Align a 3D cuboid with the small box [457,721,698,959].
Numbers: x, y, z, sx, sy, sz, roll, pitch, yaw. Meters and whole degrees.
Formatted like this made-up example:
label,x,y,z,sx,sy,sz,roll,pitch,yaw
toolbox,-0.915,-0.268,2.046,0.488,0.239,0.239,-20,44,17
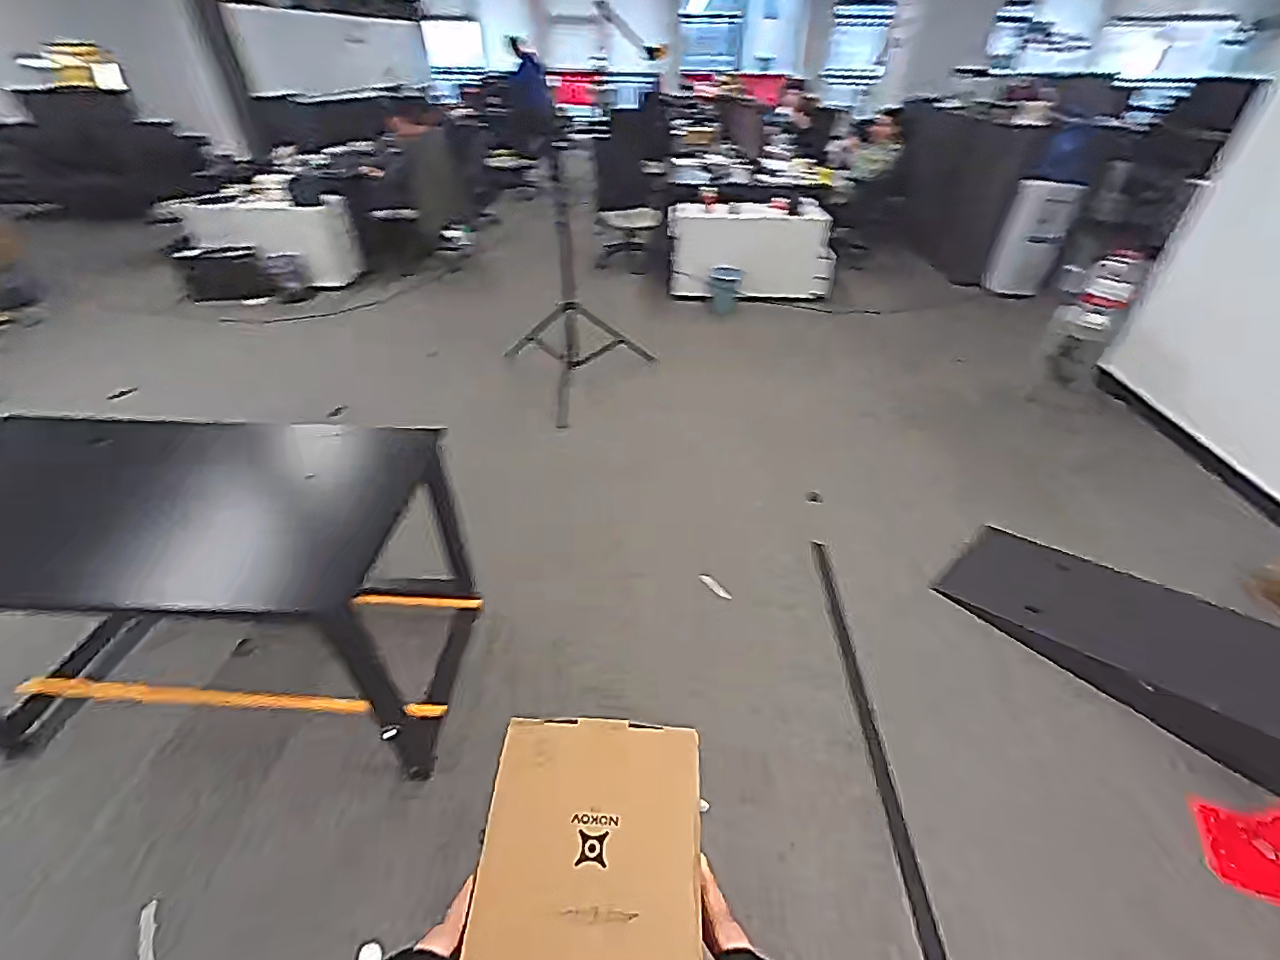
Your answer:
label,x,y,z,sx,sy,sz,roll,pitch,yaw
small box,-0.041,0.329,0.466,0.168,0.176,0.179,2,48,1
